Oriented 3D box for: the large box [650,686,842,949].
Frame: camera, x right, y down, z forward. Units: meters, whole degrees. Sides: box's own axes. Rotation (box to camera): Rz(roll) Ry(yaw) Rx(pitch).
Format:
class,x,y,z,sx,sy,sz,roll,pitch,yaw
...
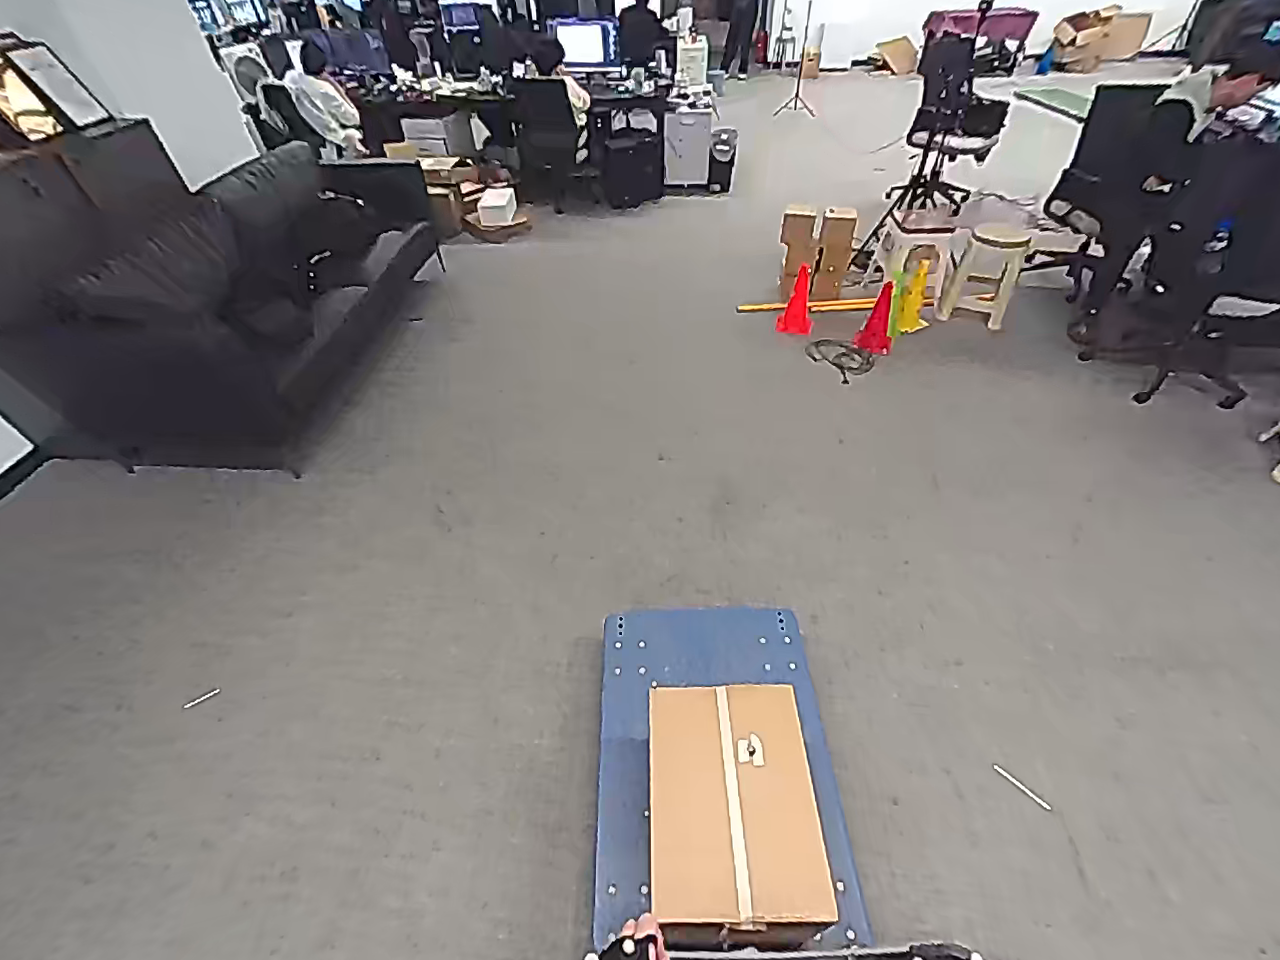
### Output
class,x,y,z,sx,sy,sz,roll,pitch,yaw
large box,0.188,0.699,1.134,0.320,0.320,0.408,-2,44,2
